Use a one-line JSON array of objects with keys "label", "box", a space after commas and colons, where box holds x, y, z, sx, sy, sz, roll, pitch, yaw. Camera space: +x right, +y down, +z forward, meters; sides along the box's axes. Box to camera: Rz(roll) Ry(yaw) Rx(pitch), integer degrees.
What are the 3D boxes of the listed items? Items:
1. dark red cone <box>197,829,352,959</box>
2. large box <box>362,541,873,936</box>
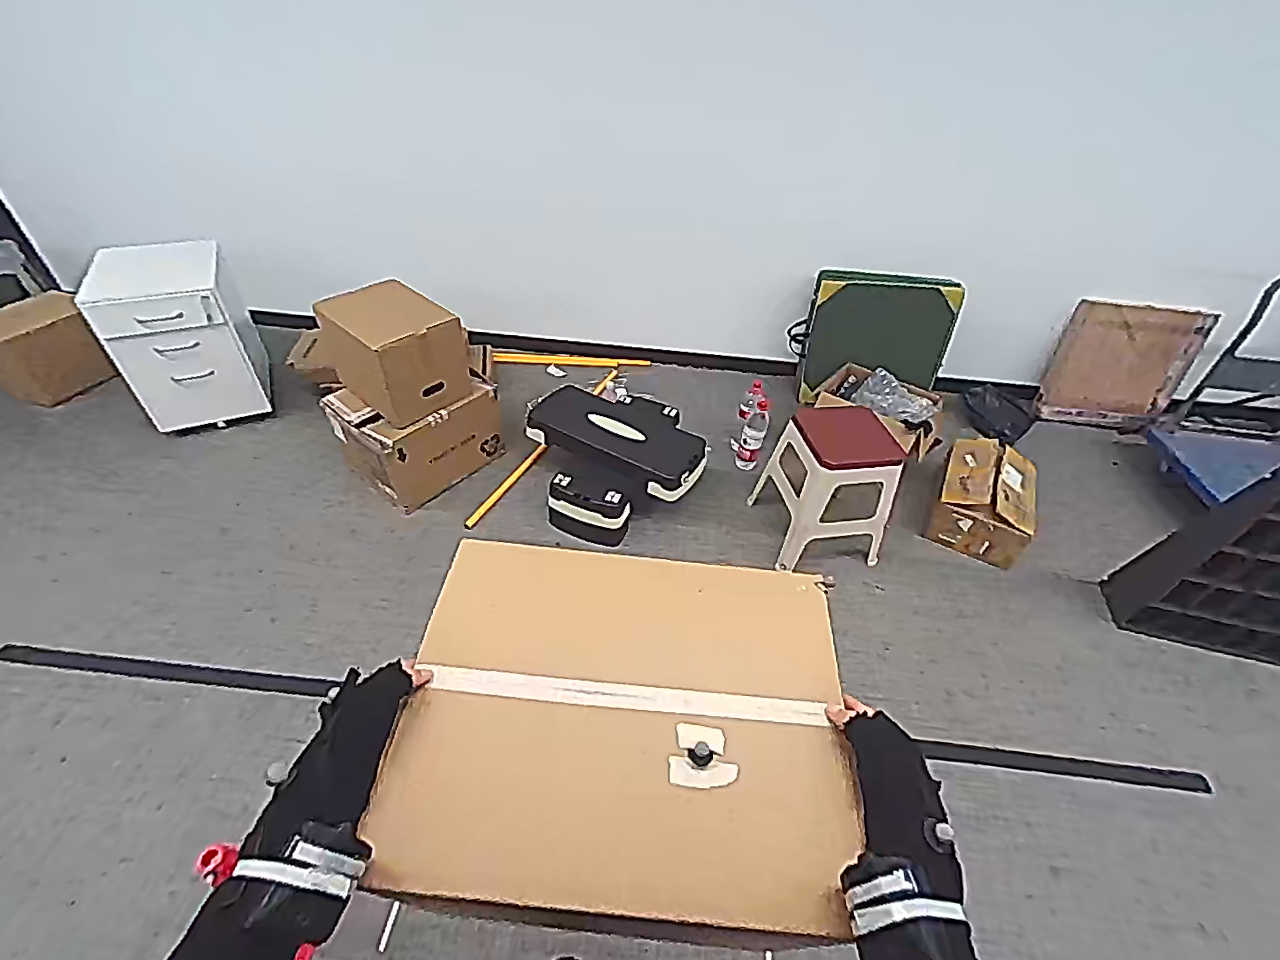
[{"label": "dark red cone", "box": [-0.729, 0.745, 1.022, 0.201, 0.394, 0.202, 11, 43, 5]}, {"label": "large box", "box": [-0.019, 0.299, 0.620, 0.408, 0.320, 0.320, 7, 48, 0]}]
